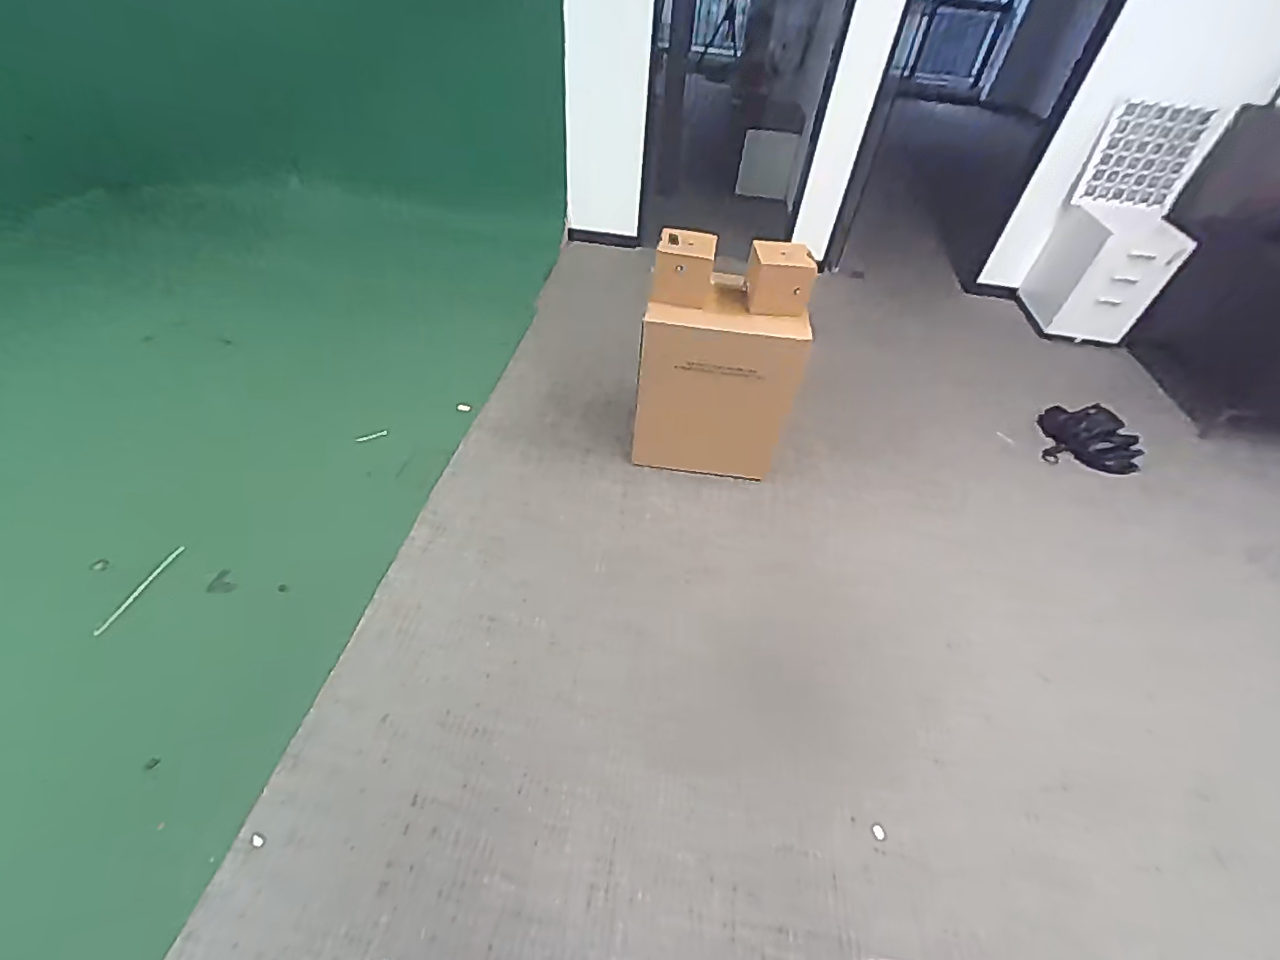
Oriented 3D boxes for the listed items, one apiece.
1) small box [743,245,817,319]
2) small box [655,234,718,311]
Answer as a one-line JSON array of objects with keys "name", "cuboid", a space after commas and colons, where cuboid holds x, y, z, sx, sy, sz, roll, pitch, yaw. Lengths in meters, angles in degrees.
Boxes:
[{"name": "small box", "cuboid": [0.443, -0.633, 1.738, 0.179, 0.176, 0.168, 1, 47, -3]}, {"name": "small box", "cuboid": [0.146, -0.666, 1.740, 0.179, 0.176, 0.168, 10, 48, 4]}]
